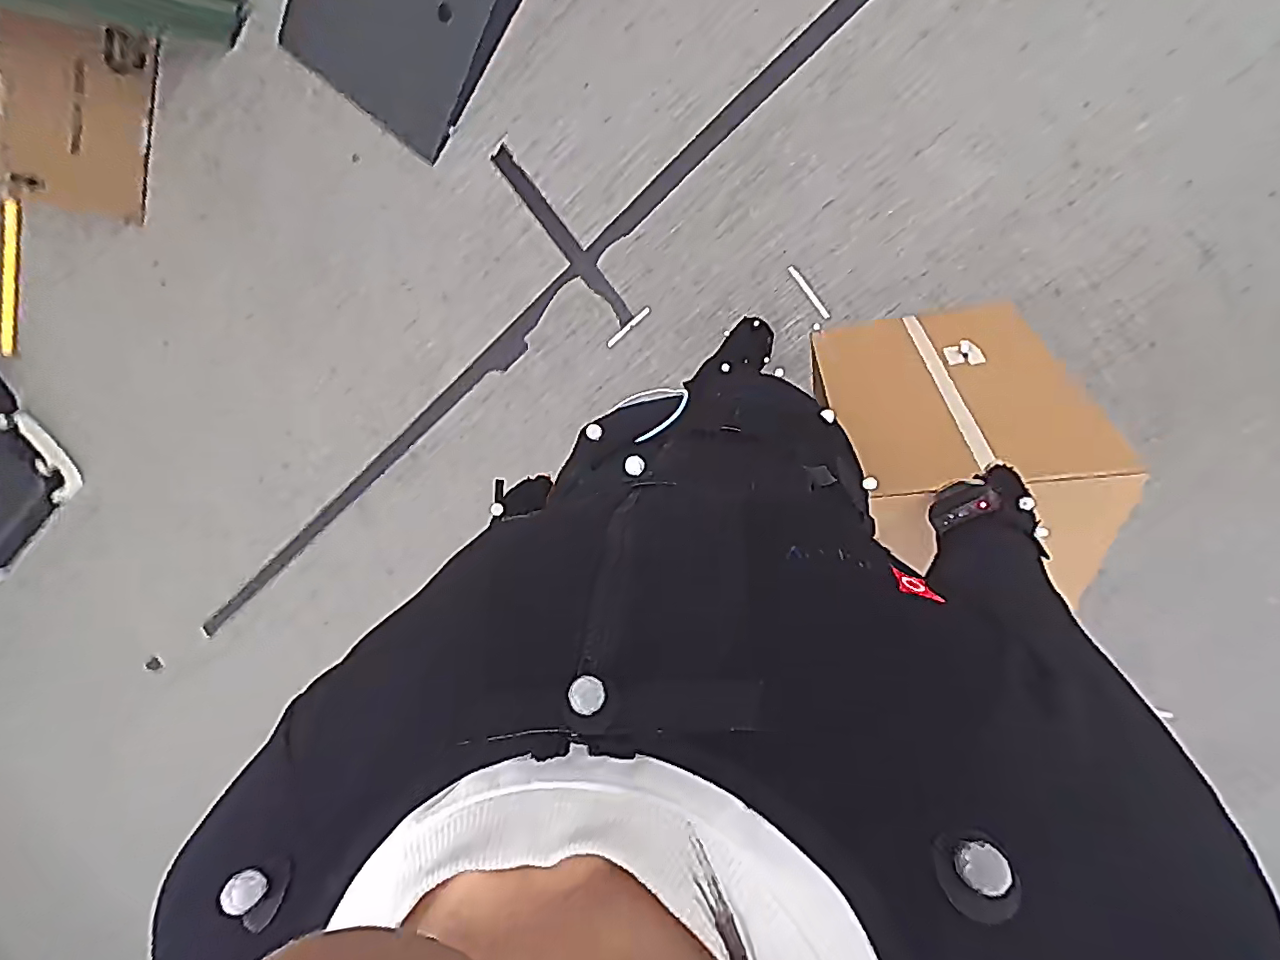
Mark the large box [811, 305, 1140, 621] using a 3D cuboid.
[{"bbox_3d":[0.470,-0.030,0.881,0.320,0.408,0.320,-5,133,11],"label":"large box"}]
